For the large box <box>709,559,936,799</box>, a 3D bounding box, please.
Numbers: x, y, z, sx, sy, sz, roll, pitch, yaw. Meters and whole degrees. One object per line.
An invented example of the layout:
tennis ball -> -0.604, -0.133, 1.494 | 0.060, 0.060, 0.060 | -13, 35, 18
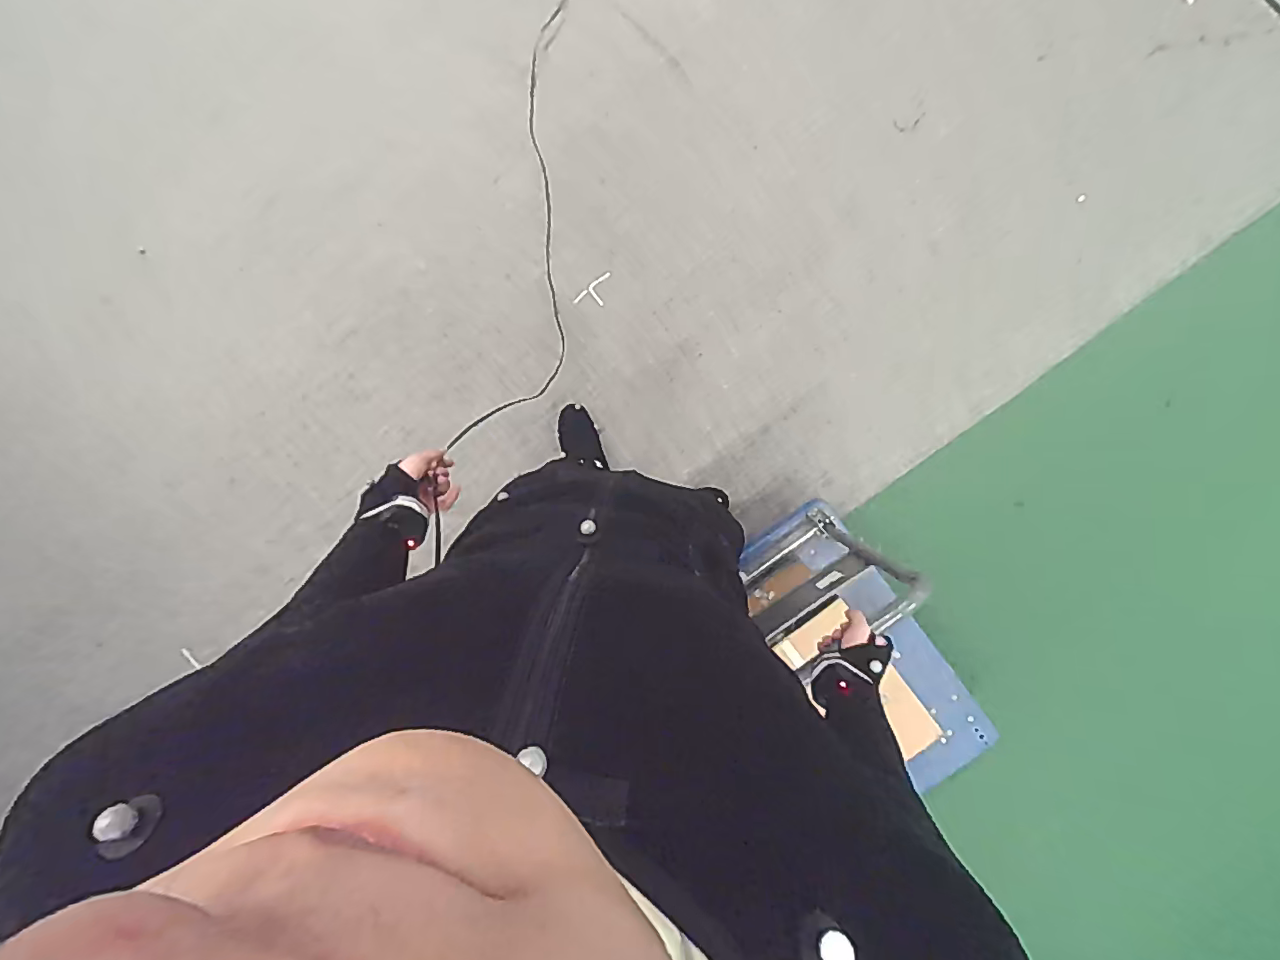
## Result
large box -> 0.428, 0.472, 1.360 | 0.320, 0.320, 0.408 | -37, 96, 5
